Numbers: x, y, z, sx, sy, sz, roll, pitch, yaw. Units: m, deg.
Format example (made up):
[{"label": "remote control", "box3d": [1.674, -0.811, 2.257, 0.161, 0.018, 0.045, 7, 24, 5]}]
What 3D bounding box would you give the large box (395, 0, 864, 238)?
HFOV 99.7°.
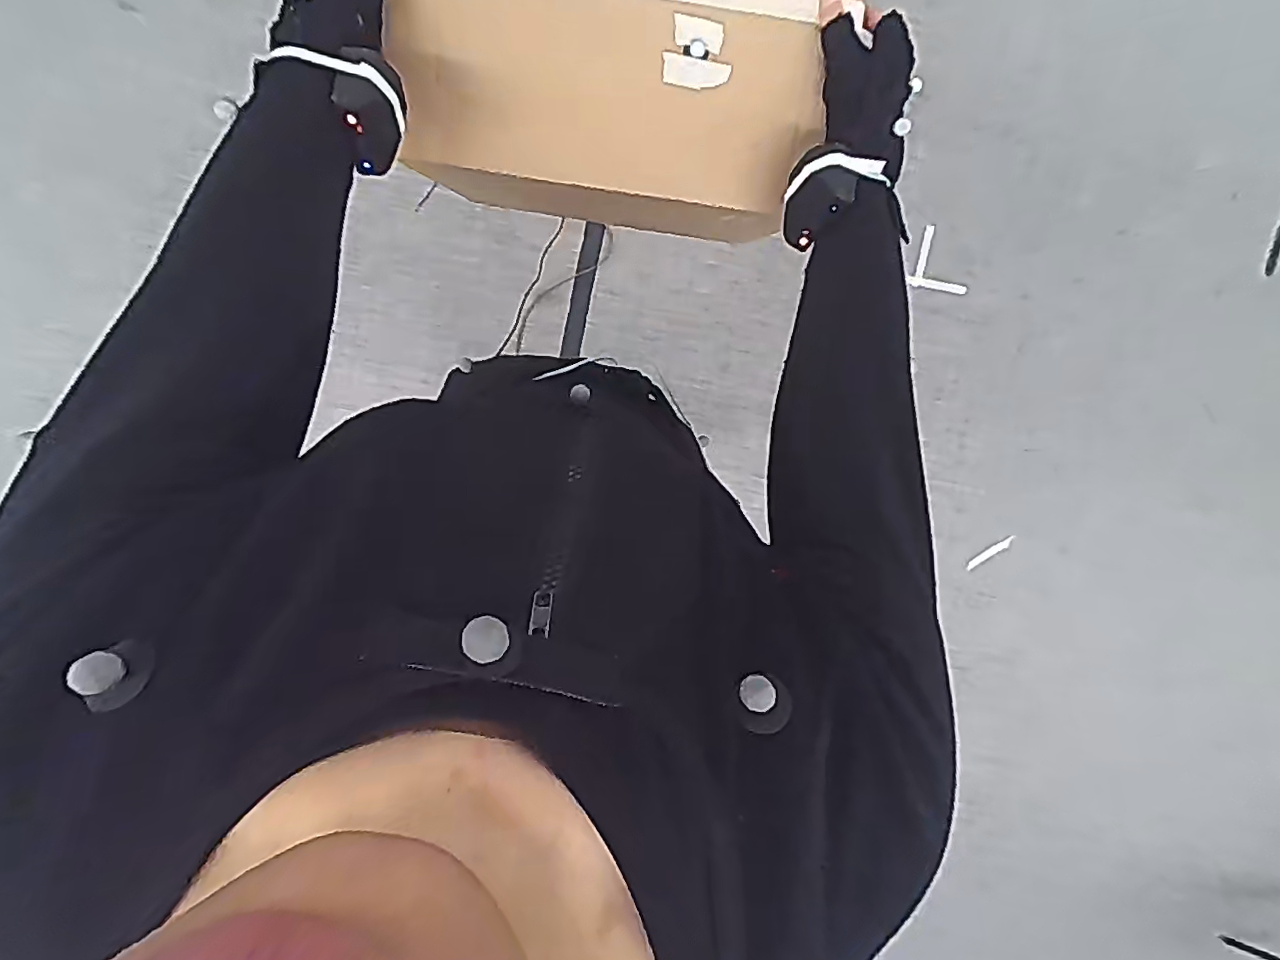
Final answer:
[{"label": "large box", "box3d": [-0.012, -0.470, 0.596, 0.408, 0.320, 0.320, 7, 110, -5]}]
